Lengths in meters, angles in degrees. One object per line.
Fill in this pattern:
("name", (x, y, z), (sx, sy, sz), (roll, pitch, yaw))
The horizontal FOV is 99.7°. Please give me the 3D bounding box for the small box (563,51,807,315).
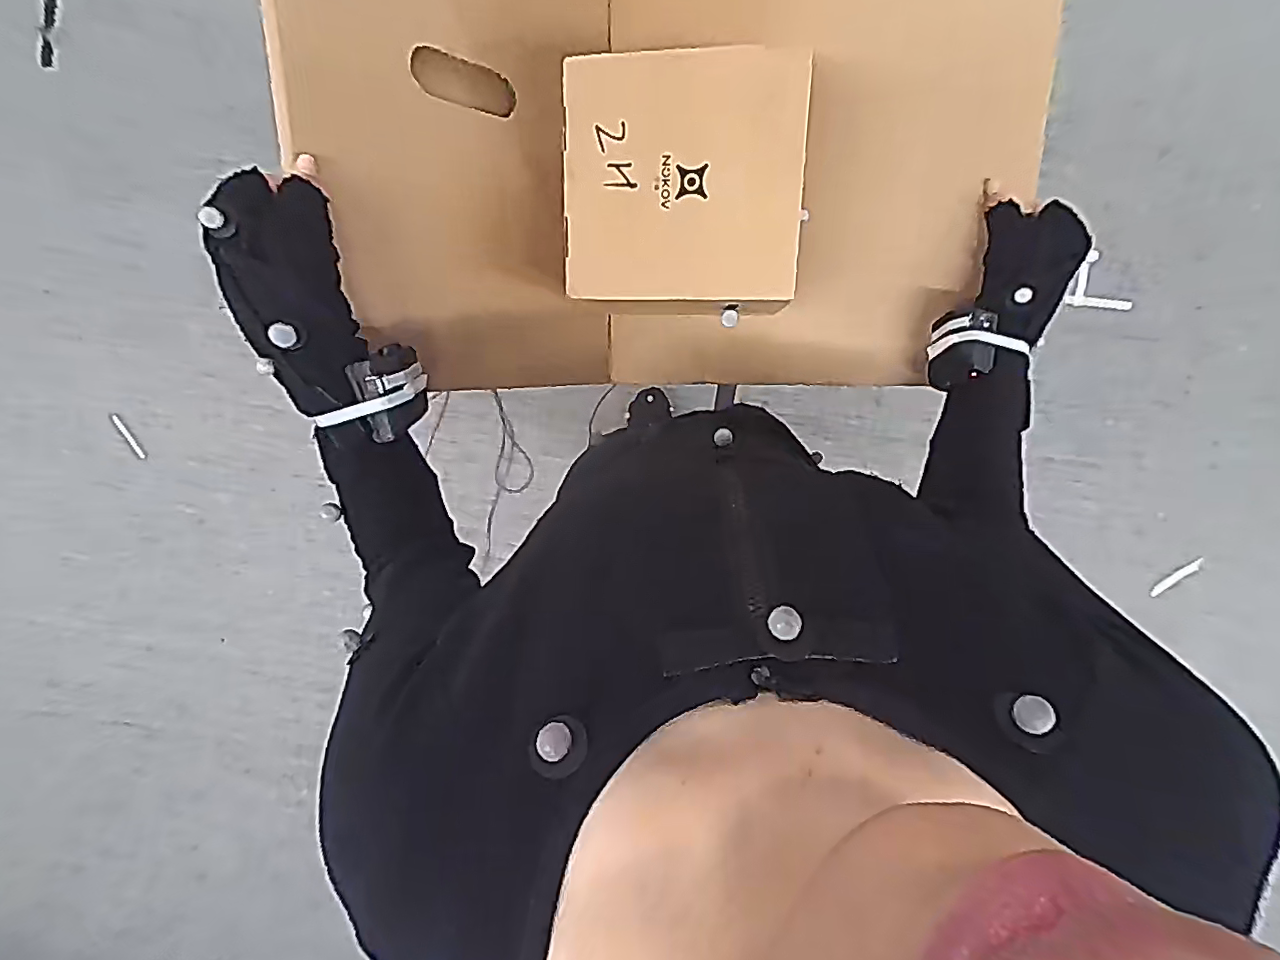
("small box", (0.039, -0.238, 0.477), (0.179, 0.176, 0.168), (3, 103, 8))
